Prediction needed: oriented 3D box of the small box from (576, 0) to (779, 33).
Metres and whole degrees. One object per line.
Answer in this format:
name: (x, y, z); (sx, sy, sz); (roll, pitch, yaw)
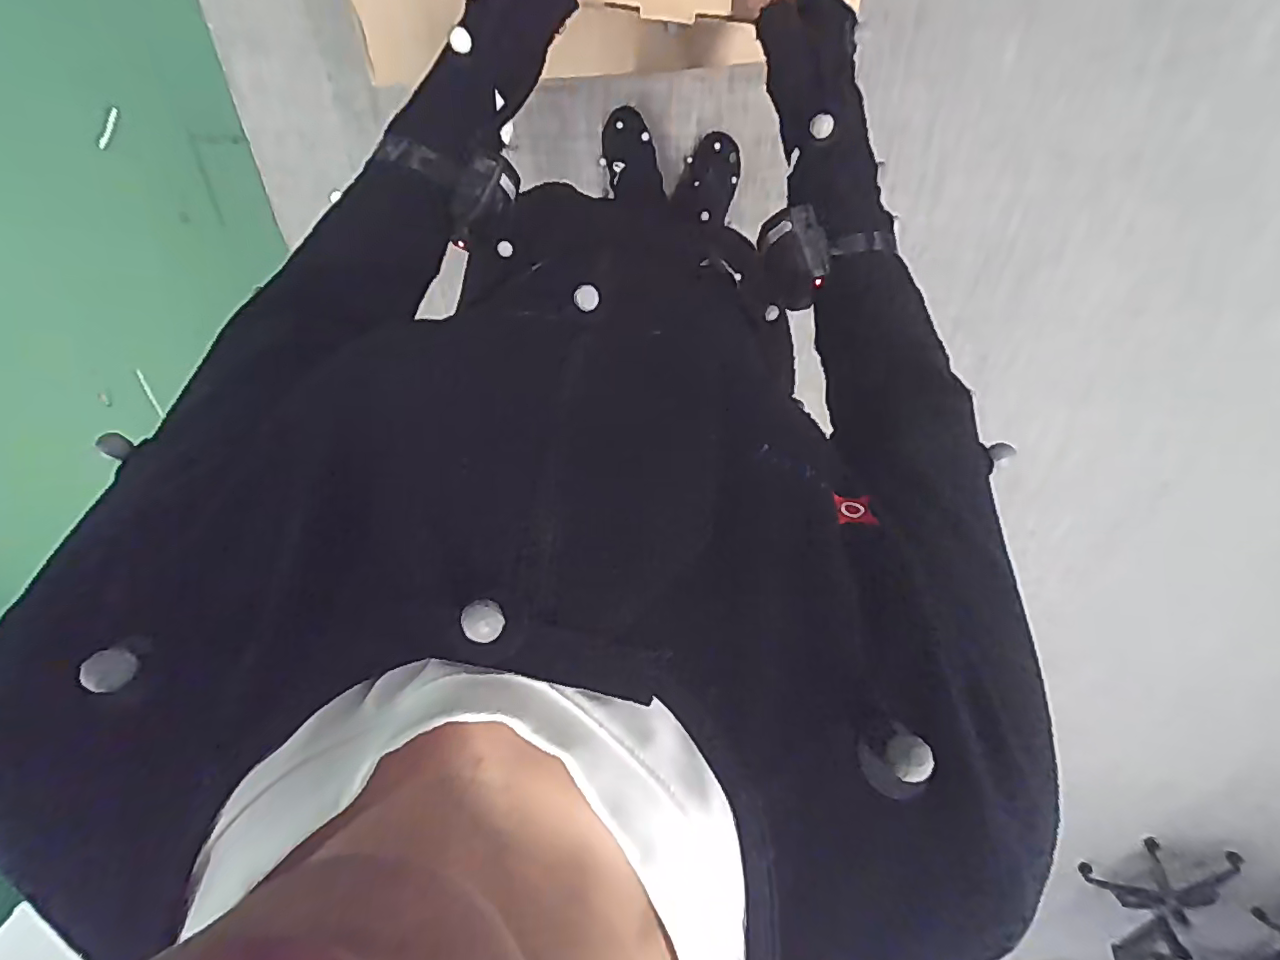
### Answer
small box: (0.044, -0.486, 0.433); (0.168, 0.176, 0.179); (7, 133, 2)
